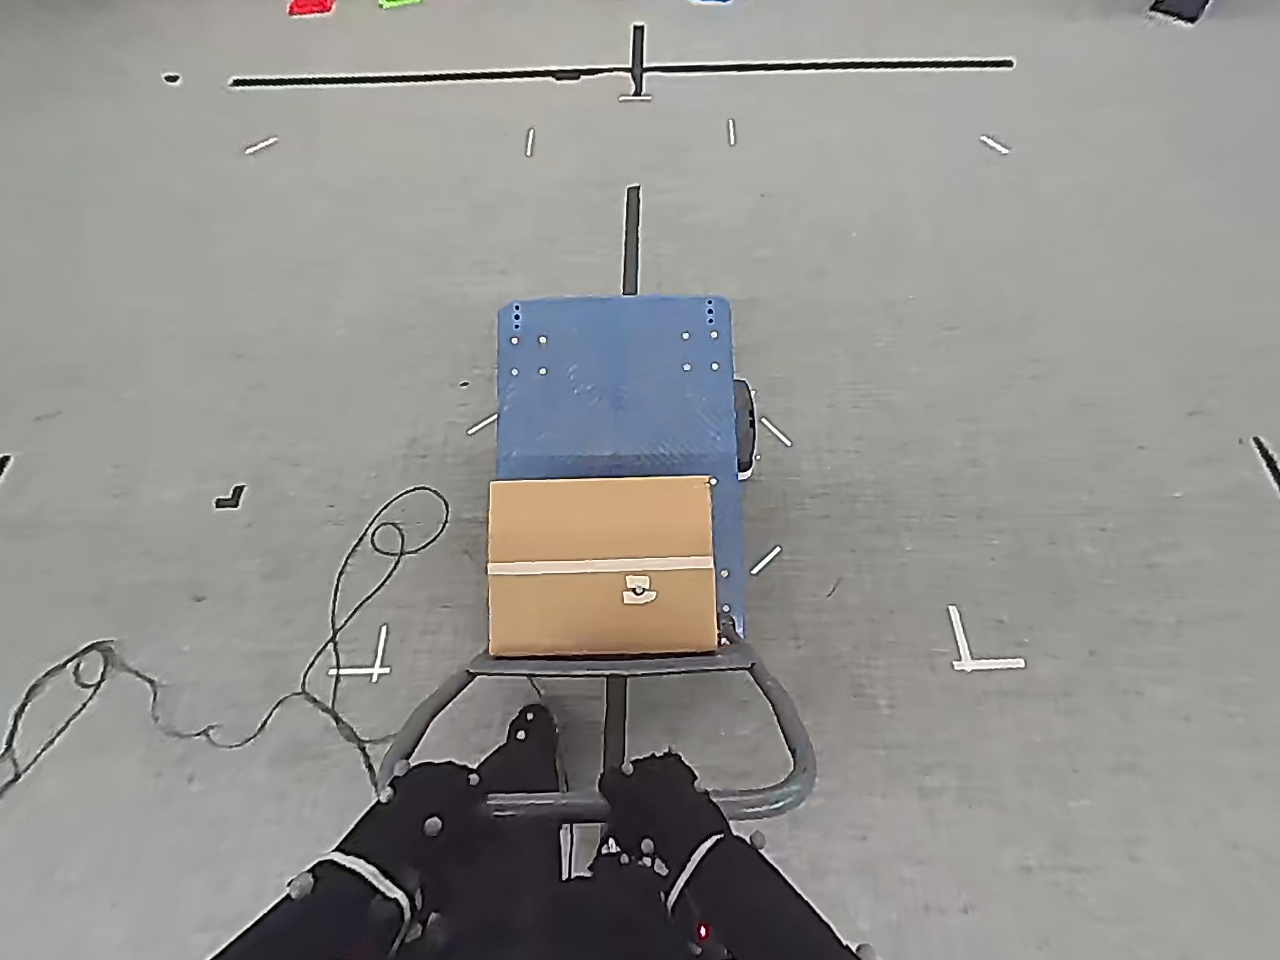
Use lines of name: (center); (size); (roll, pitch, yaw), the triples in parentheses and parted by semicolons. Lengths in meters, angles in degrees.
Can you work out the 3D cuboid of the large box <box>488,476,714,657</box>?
large box: (-0.074, 0.170, 1.111); (0.408, 0.320, 0.320); (-1, 84, 0)
